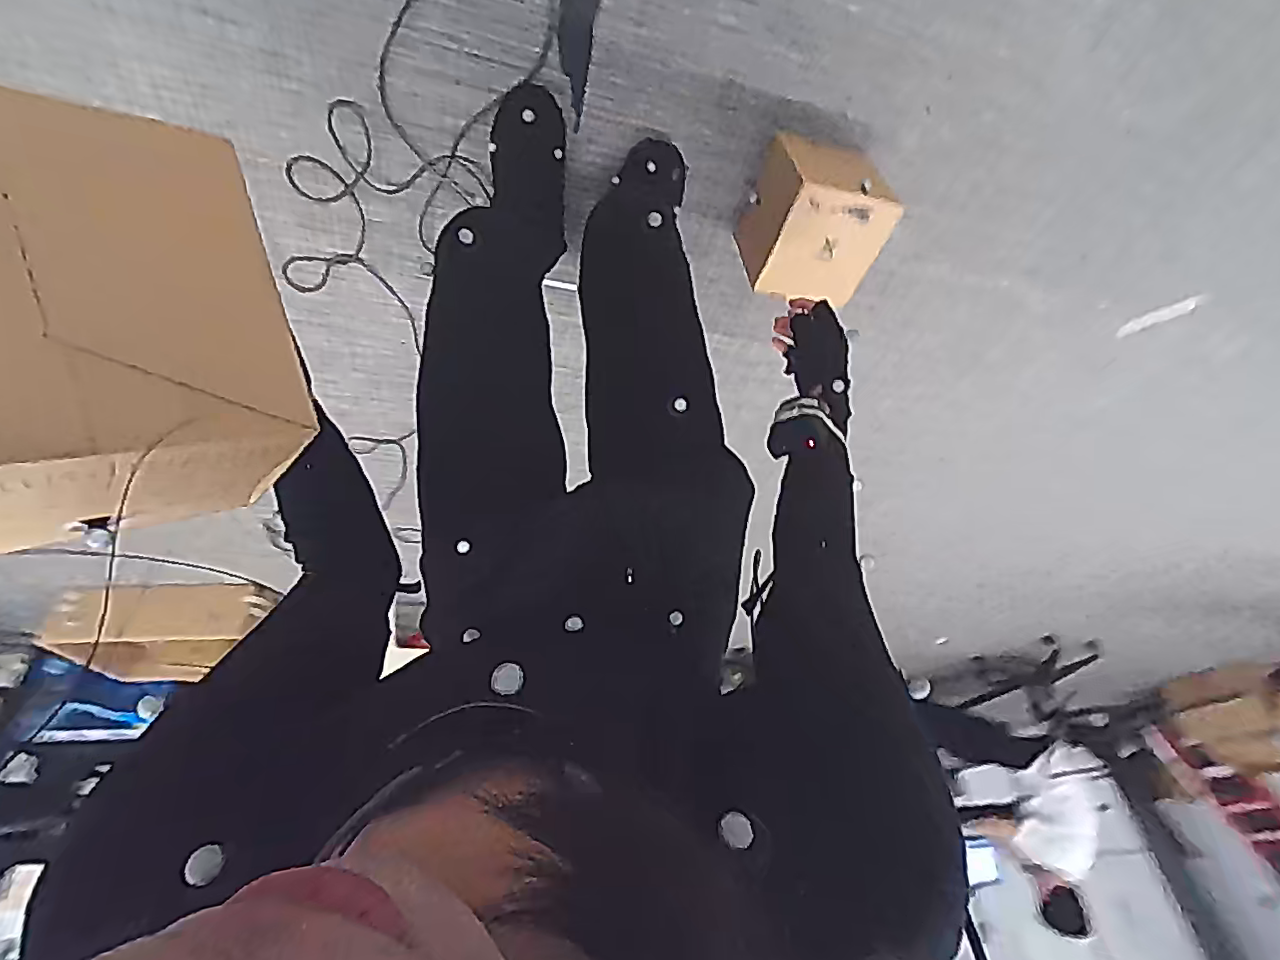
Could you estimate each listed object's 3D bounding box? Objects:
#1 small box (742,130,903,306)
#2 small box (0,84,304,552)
[{"bbox_3d":[0.273,-0.412,0.859,0.168,0.176,0.179,5,142,-13],"label":"small box"},{"bbox_3d":[-0.297,-0.065,0.266,0.176,0.168,0.179,-22,175,42],"label":"small box"}]
